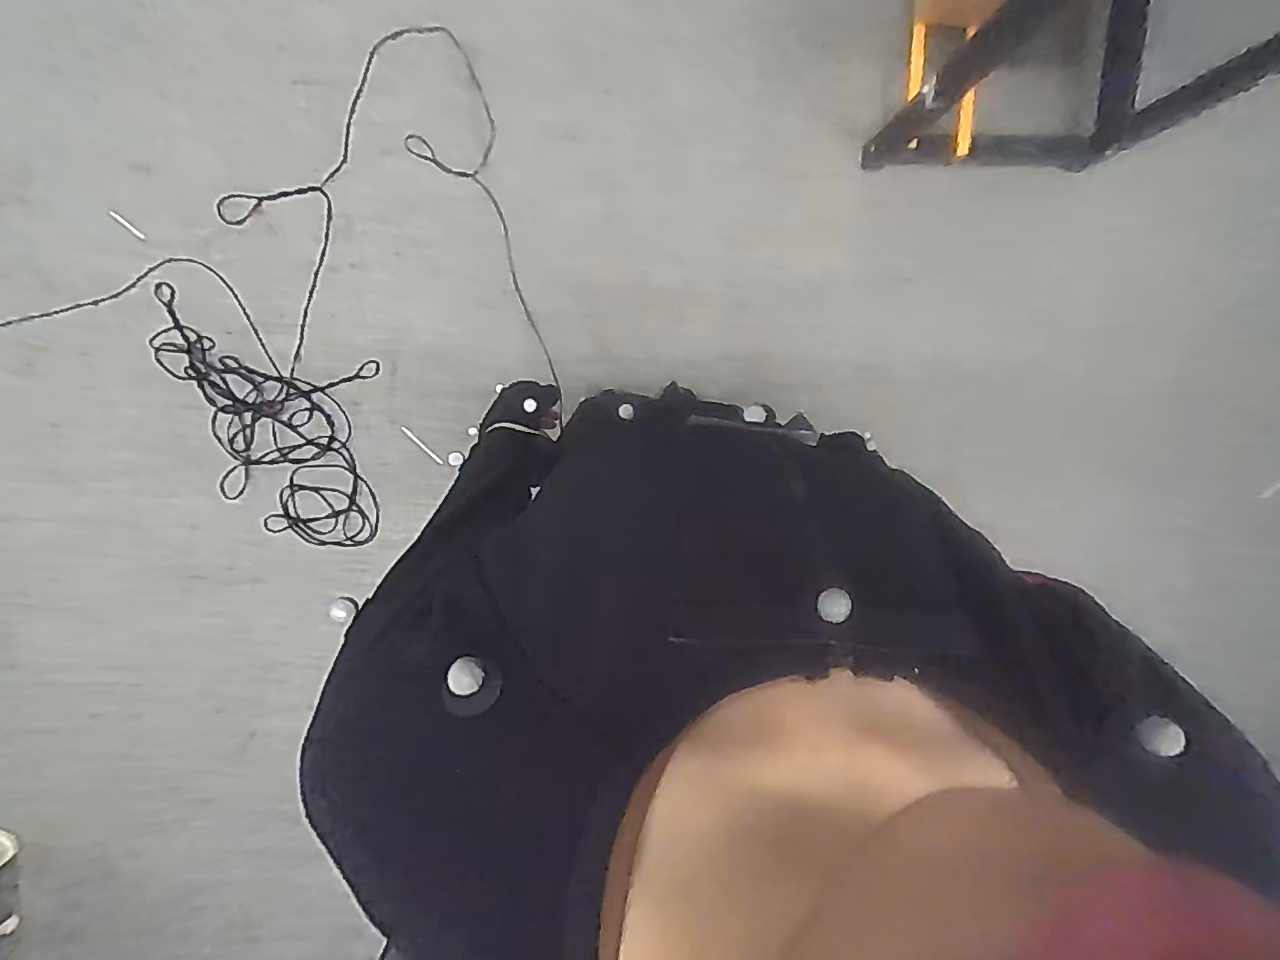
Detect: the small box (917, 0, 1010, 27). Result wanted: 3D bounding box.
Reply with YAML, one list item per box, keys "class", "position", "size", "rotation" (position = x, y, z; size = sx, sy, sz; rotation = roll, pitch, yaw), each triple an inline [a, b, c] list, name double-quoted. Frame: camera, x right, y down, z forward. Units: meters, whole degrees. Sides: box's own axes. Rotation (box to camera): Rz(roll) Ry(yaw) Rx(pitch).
- class: "small box"
  position: [0.713, -1.100, 1.136]
  size: [0.179, 0.176, 0.168]
  rotation: [3, 99, -2]
